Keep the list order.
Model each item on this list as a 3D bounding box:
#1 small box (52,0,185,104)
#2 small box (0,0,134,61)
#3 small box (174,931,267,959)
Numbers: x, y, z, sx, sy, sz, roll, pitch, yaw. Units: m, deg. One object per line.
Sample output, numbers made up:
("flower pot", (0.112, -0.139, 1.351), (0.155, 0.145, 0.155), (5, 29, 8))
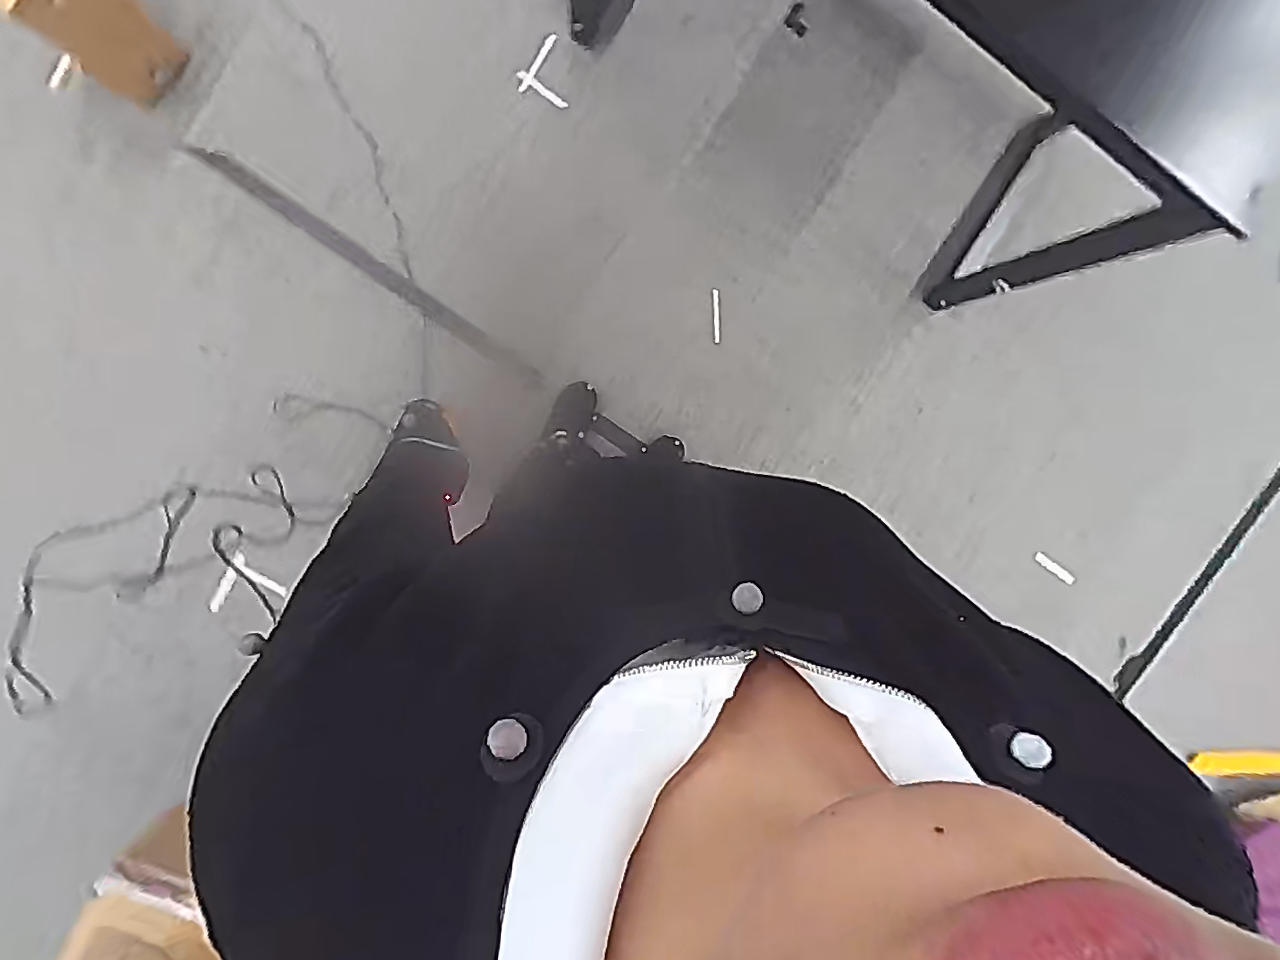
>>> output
("small box", (-1.161, -0.988, 1.184), (0.168, 0.176, 0.179), (40, 92, -9))
("small box", (-1.131, -0.960, 1.023), (0.168, 0.176, 0.179), (35, 94, -9))
("small box", (-0.841, 1.006, 0.998), (0.168, 0.176, 0.179), (33, 90, -10))
